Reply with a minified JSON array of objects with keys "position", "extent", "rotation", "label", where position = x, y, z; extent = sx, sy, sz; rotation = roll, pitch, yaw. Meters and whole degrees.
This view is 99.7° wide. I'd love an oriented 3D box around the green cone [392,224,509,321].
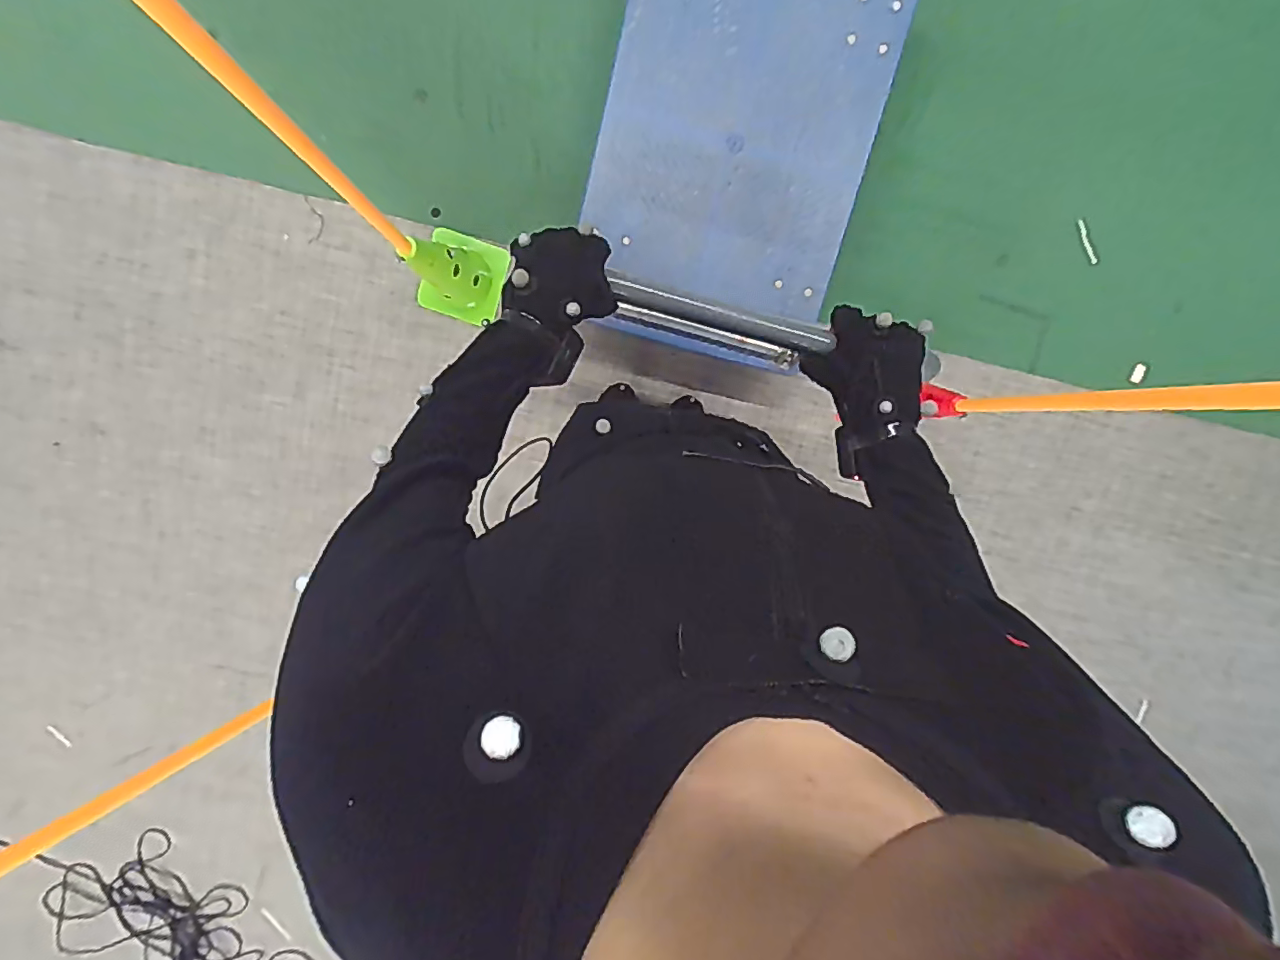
[{"position":[-0.447,-0.494,1.204],"extent":[0.202,0.368,0.200],"rotation":[18,100,-3],"label":"green cone"}]
